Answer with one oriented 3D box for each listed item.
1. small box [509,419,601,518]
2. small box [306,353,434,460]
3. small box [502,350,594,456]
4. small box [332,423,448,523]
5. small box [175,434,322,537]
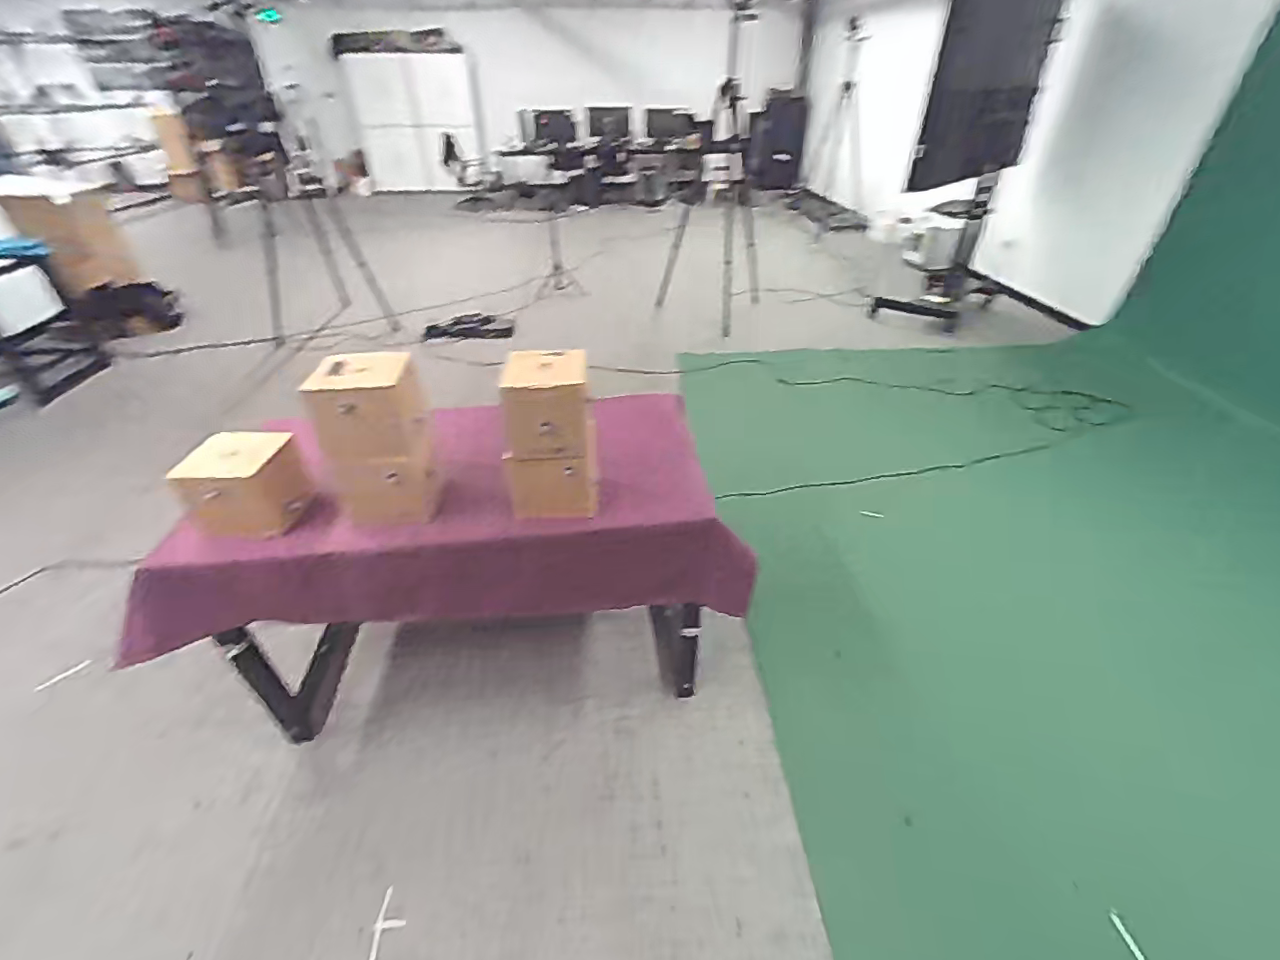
[{"bbox_3d":[-0.186,-0.027,1.237,0.179,0.176,0.168,0,36,0],"label":"small box"},{"bbox_3d":[-0.553,-0.153,1.134,0.179,0.176,0.168,-4,36,-5],"label":"small box"},{"bbox_3d":[-0.185,-0.160,1.140,0.168,0.176,0.179,-2,37,-3],"label":"small box"},{"bbox_3d":[-0.552,-0.016,1.226,0.179,0.176,0.168,-2,35,-3],"label":"small box"},{"bbox_3d":[-0.849,0.011,1.195,0.179,0.176,0.168,1,37,1],"label":"small box"}]
